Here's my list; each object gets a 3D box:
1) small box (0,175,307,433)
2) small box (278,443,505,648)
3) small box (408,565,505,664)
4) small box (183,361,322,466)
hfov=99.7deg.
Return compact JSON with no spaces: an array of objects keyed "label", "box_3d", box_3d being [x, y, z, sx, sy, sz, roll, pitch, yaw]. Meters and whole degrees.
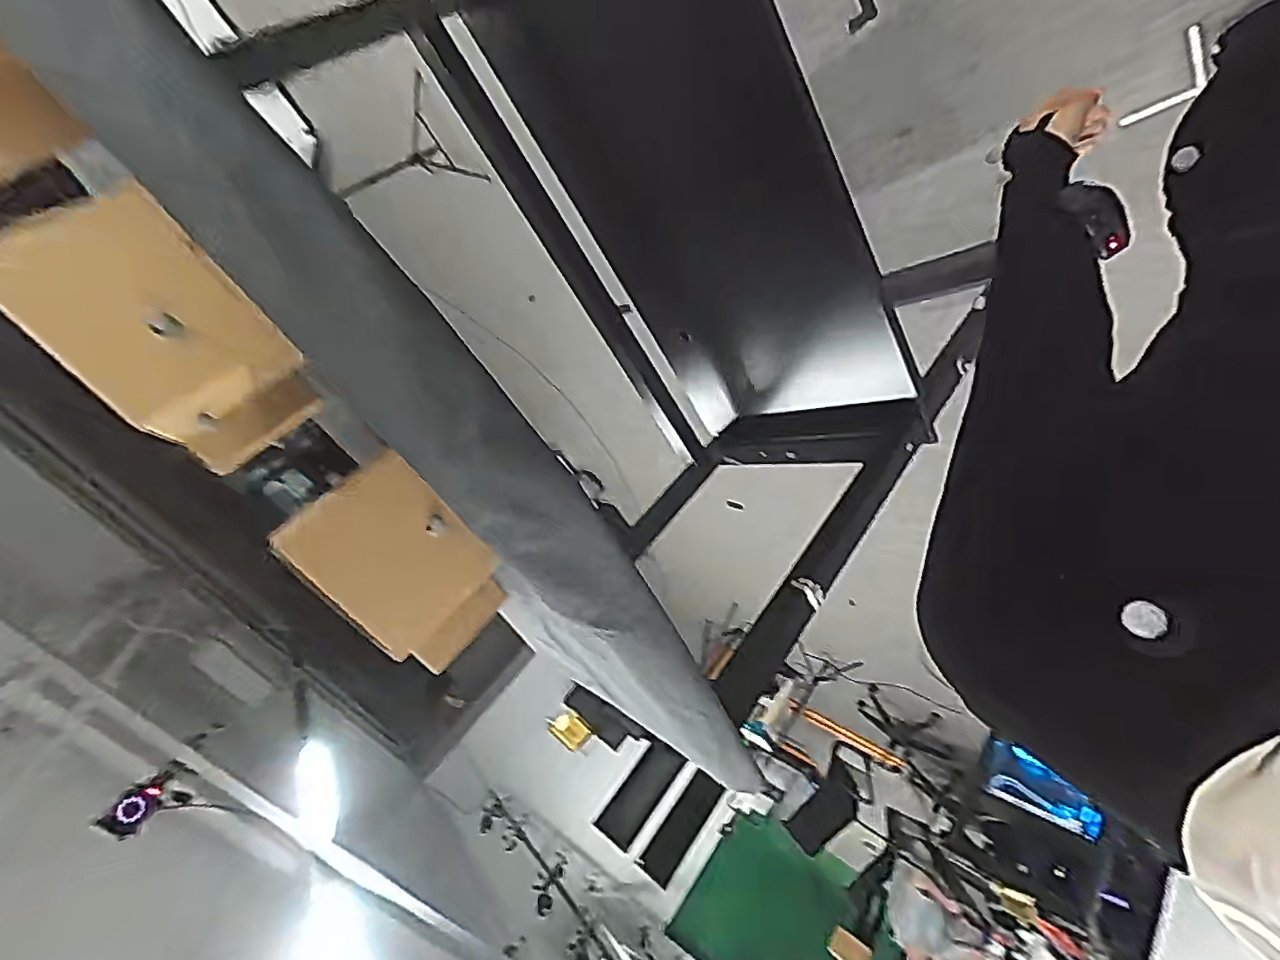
[{"label":"small box","box_3d":[-0.471,-0.168,0.549,0.168,0.176,0.179,54,155,-21]},{"label":"small box","box_3d":[-0.302,0.066,0.662,0.168,0.176,0.179,2,132,57]},{"label":"small box","box_3d":[-0.364,0.186,0.949,0.168,0.176,0.179,51,155,-17]},{"label":"small box","box_3d":[-0.608,-0.140,0.802,0.168,0.176,0.179,2,132,55]}]
